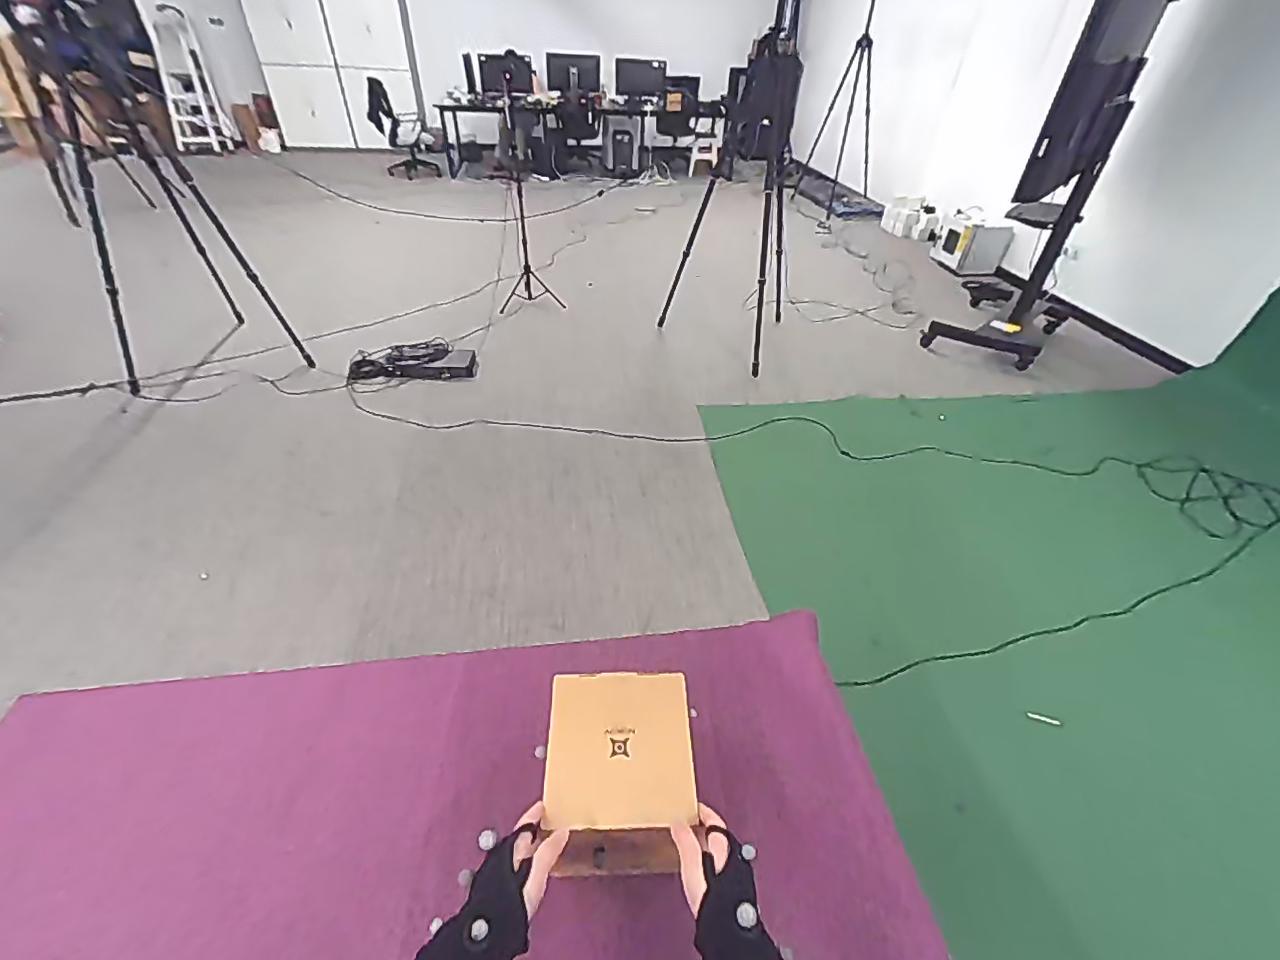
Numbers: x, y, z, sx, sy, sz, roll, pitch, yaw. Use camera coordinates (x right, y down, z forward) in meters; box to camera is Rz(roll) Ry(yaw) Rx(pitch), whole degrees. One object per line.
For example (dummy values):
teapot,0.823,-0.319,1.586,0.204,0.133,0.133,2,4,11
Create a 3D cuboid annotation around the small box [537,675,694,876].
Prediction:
small box,-0.026,0.364,0.665,0.168,0.176,0.179,0,39,-2
